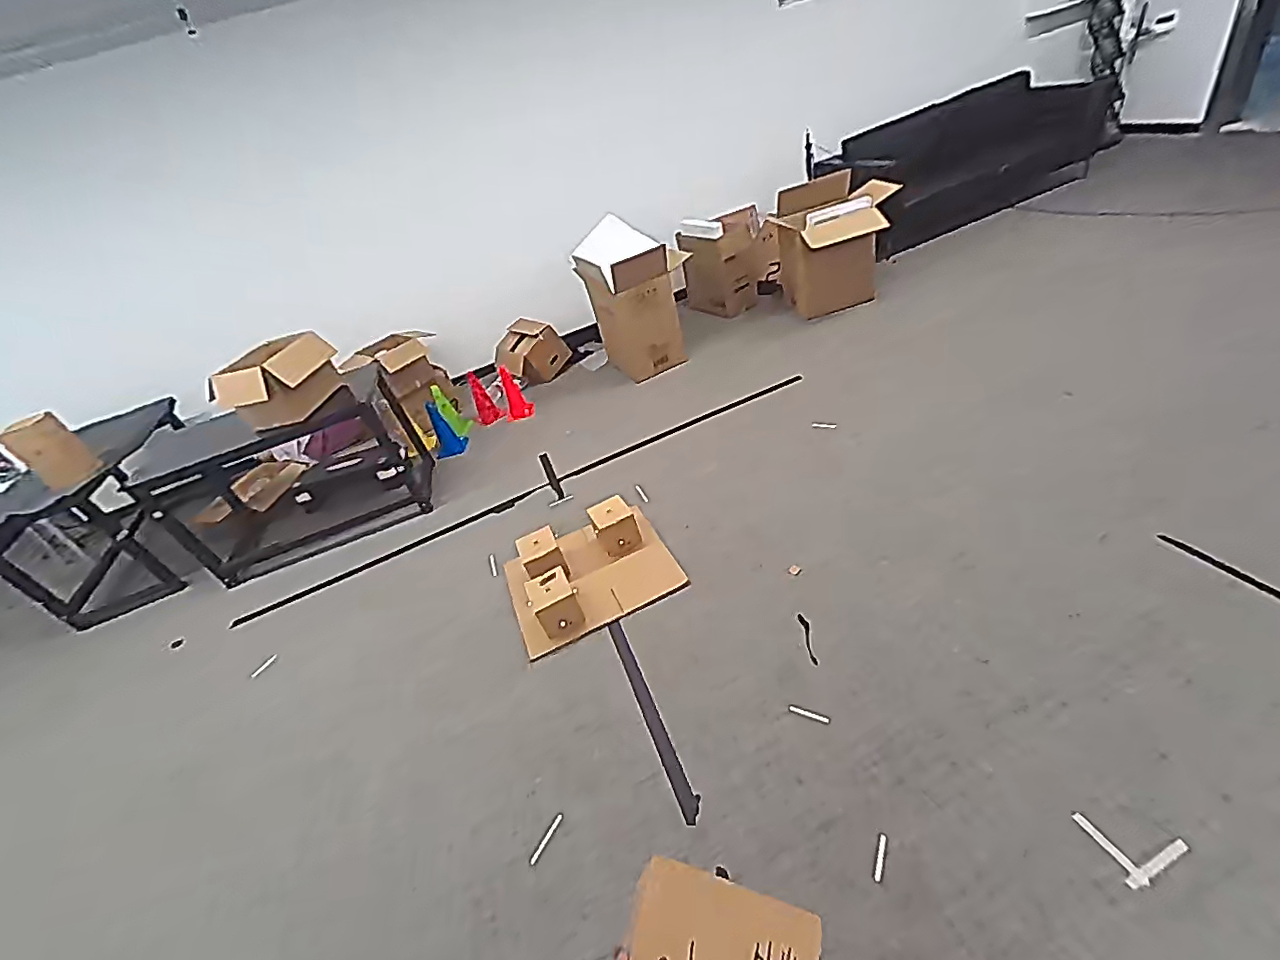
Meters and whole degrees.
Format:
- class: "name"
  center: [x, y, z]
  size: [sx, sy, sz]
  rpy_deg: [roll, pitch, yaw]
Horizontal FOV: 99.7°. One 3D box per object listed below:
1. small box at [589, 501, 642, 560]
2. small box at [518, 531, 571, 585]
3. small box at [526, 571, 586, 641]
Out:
- class: "small box"
  center: [-0.111, 0.229, 2.447]
  size: [0.168, 0.176, 0.179]
  rpy_deg: [-27, 36, -13]
- class: "small box"
  center: [-0.422, 0.362, 2.388]
  size: [0.168, 0.176, 0.179]
  rpy_deg: [-25, 36, -10]
- class: "small box"
  center: [-0.335, 0.506, 2.158]
  size: [0.168, 0.176, 0.179]
  rpy_deg: [-26, 37, -10]
